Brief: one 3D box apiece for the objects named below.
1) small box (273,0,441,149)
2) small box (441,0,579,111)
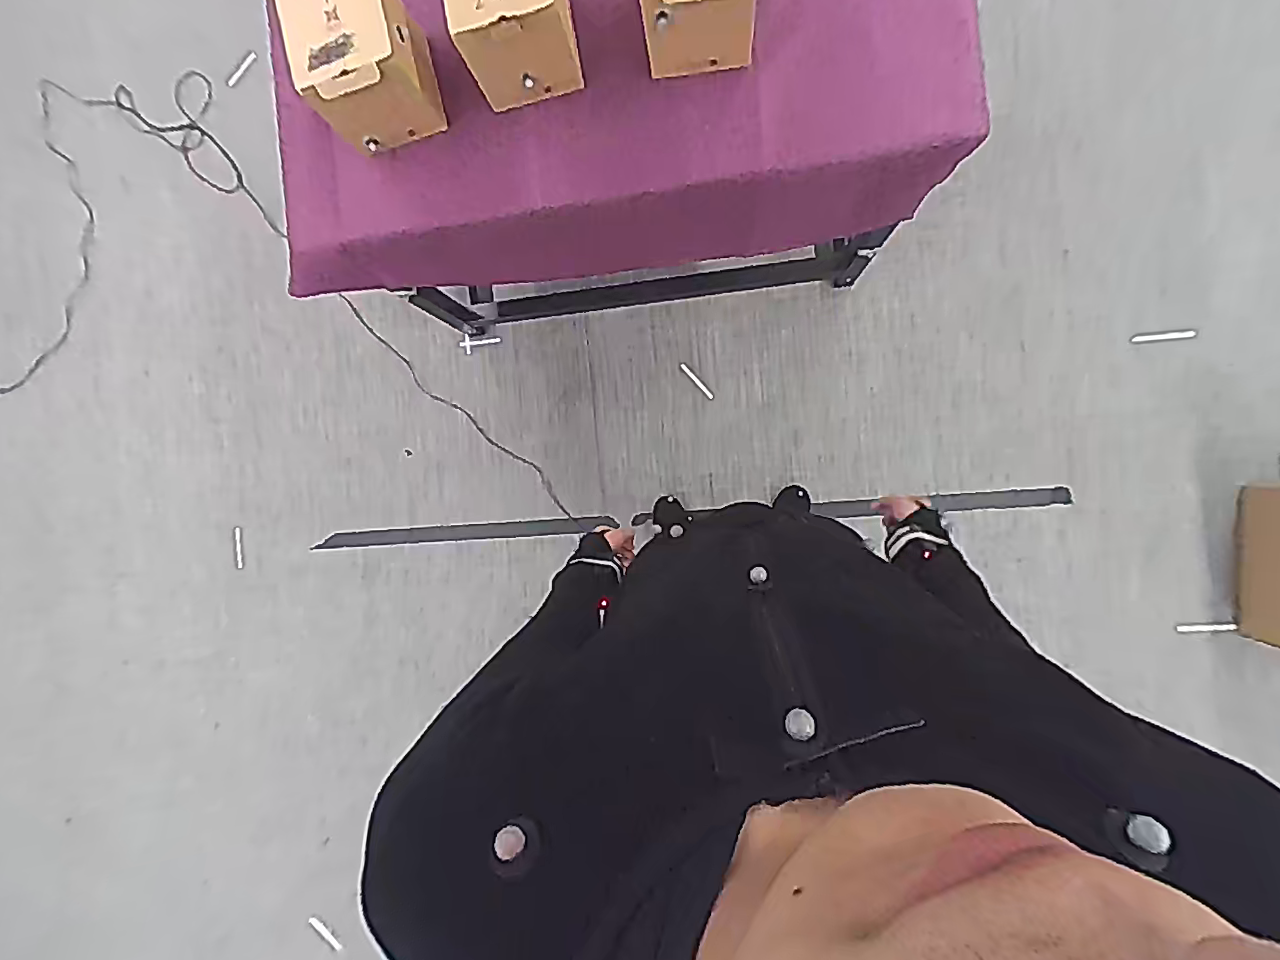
[{"bbox_3d":[-0.454,-0.685,0.892,0.168,0.176,0.179,-14,88,7],"label":"small box"},{"bbox_3d":[-0.206,-0.742,0.860,0.168,0.176,0.179,-10,89,8],"label":"small box"}]
